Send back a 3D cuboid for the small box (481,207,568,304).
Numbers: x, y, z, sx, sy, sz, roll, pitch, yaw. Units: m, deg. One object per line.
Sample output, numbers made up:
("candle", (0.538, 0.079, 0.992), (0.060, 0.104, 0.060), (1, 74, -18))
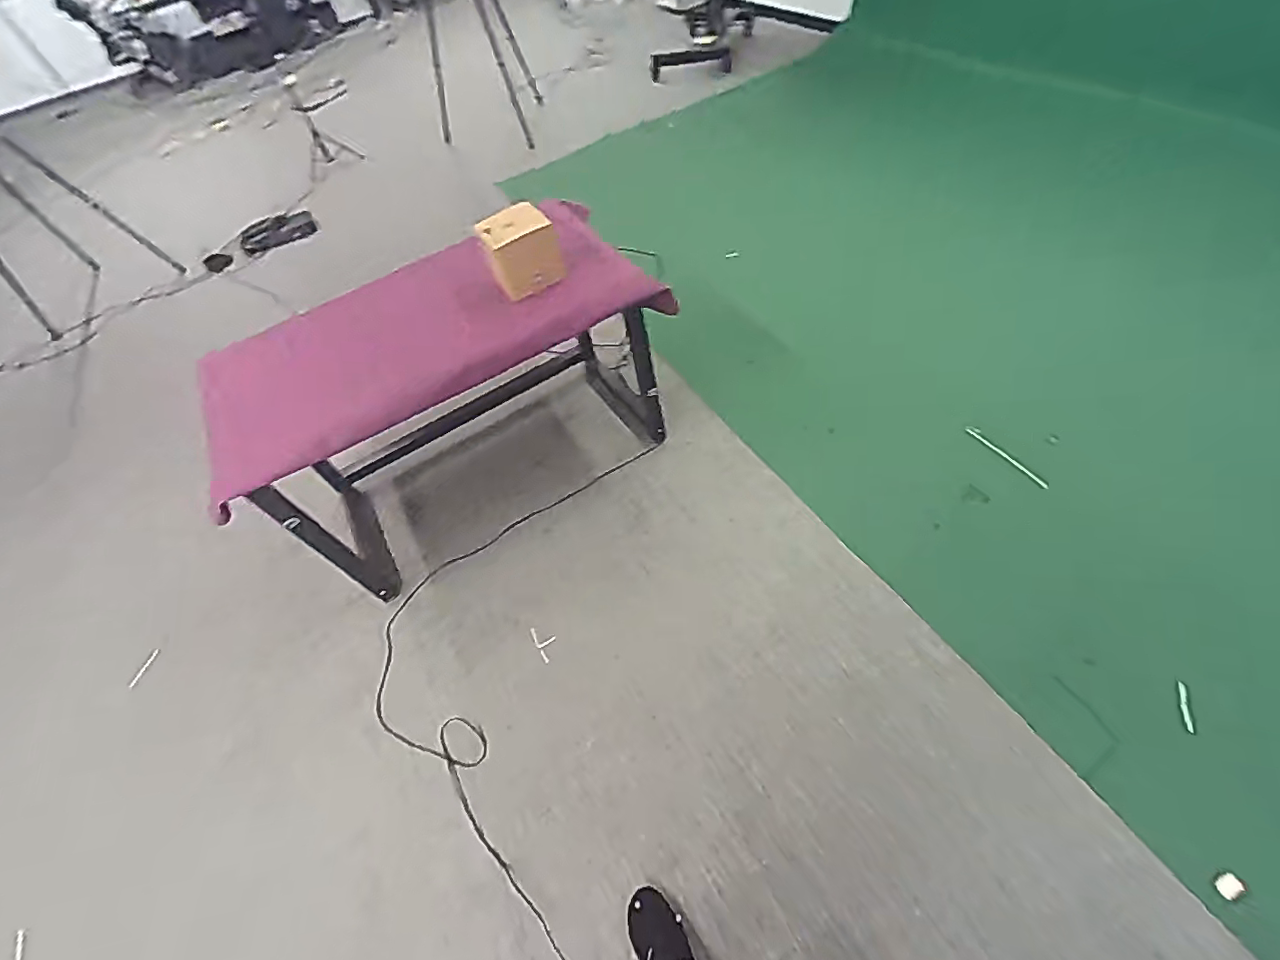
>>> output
("small box", (-0.320, -0.637, 1.539), (0.179, 0.176, 0.168), (-29, 54, -12))
